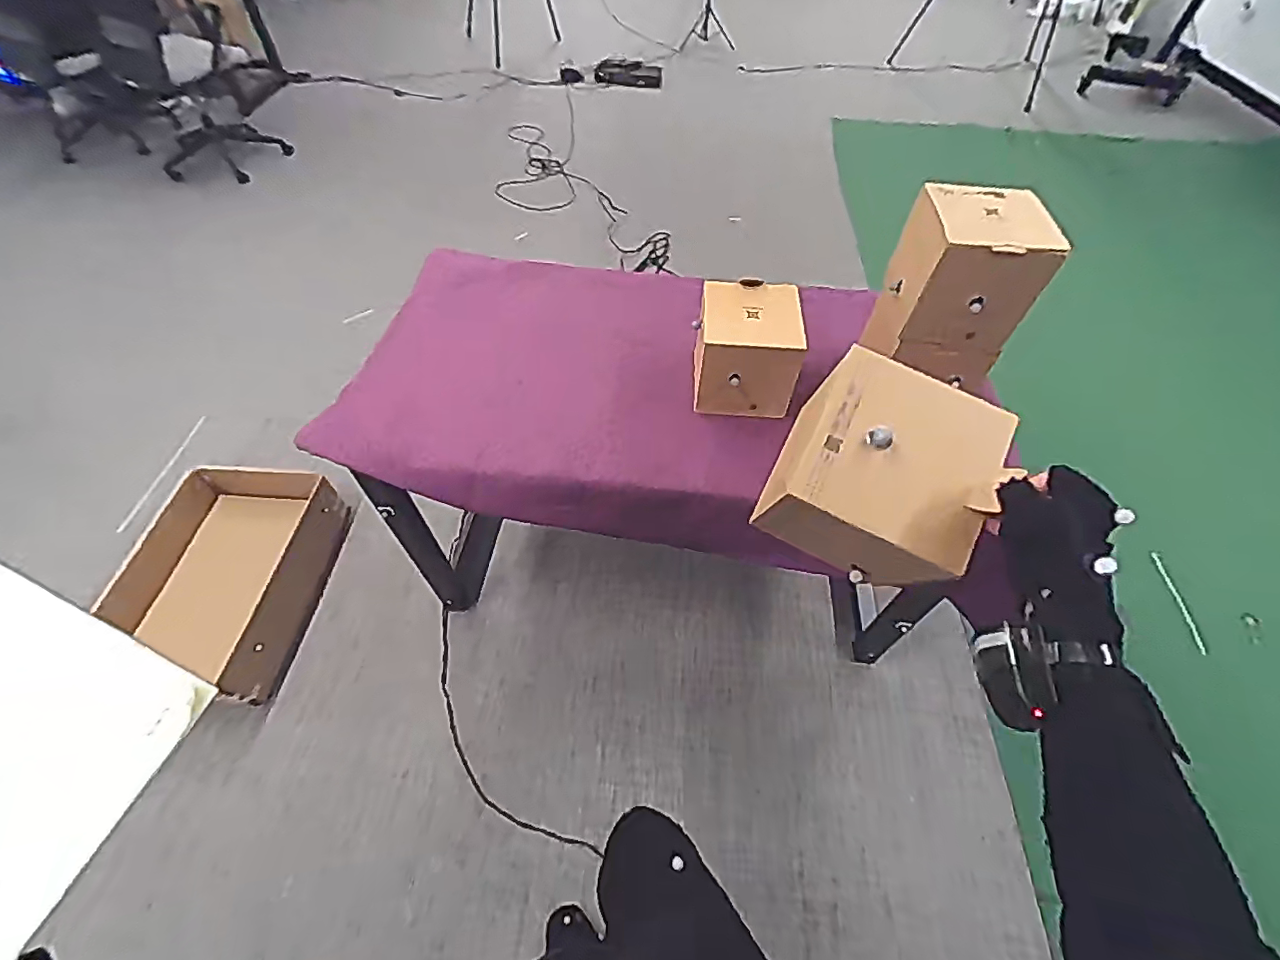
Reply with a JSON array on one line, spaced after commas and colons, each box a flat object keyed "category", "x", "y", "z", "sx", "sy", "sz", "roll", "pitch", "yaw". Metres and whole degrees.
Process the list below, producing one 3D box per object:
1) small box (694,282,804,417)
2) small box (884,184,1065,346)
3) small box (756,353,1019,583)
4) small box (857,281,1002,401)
[{"category": "small box", "x": 0.189, "y": -0.232, "z": 0.975, "sx": 0.168, "sy": 0.176, "sz": 0.179, "roll": 4, "pitch": 53, "yaw": 2}, {"category": "small box", "x": 0.506, "y": -0.333, "z": 0.850, "sx": 0.168, "sy": 0.176, "sz": 0.179, "roll": 6, "pitch": 55, "yaw": 3}, {"category": "small box", "x": 0.241, "y": -0.006, "z": 0.572, "sx": 0.176, "sy": 0.179, "sz": 0.168, "roll": 26, "pitch": 77, "yaw": 6}, {"category": "small box", "x": 0.510, "y": -0.237, "z": 0.982, "sx": 0.168, "sy": 0.176, "sz": 0.179, "roll": 6, "pitch": 54, "yaw": 3}]
